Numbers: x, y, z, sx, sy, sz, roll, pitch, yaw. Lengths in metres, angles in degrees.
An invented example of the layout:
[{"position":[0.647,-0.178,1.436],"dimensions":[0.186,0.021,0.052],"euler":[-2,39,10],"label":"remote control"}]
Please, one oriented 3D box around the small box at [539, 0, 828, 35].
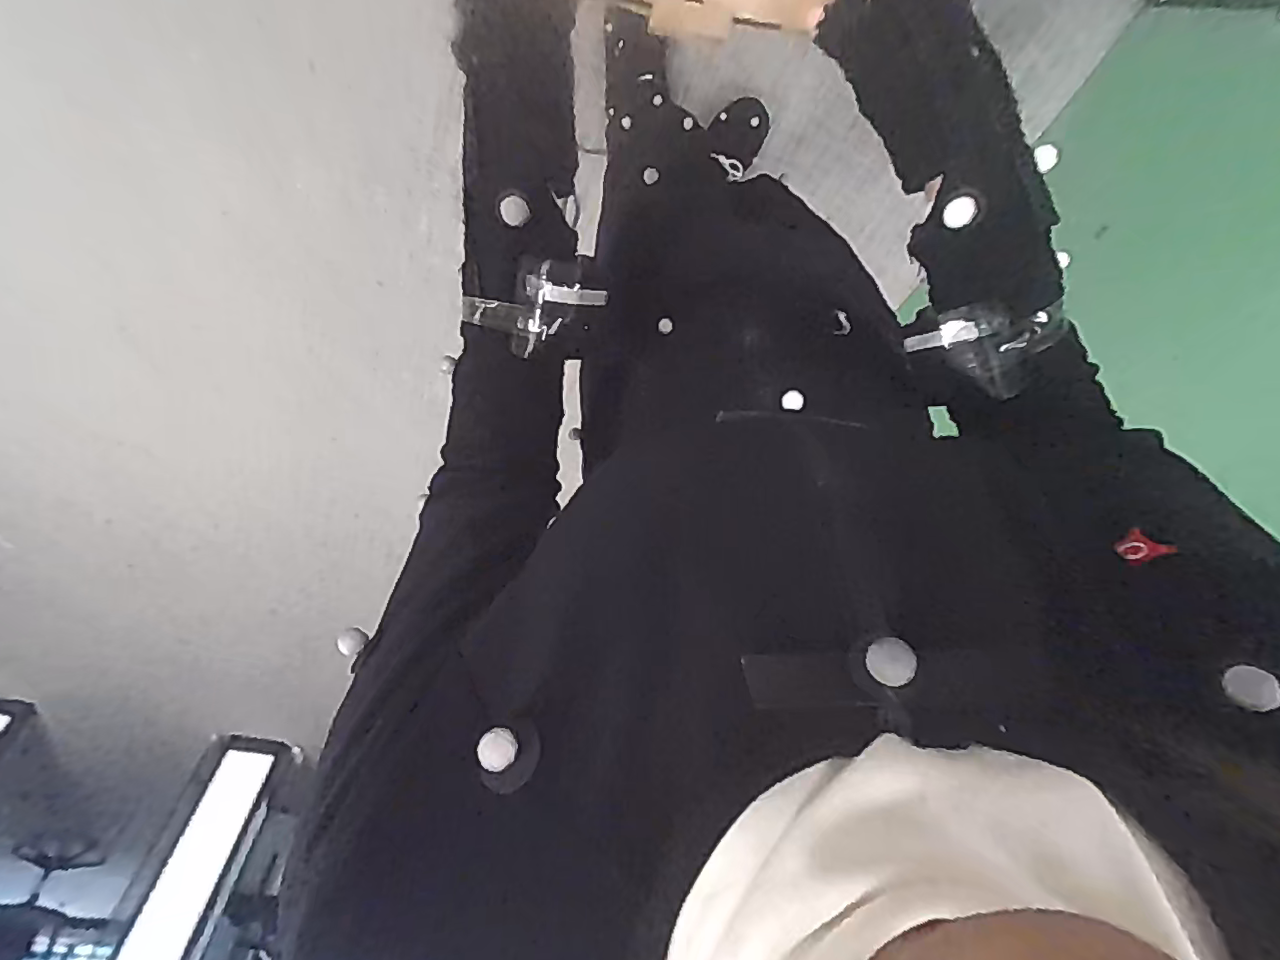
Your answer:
[{"position":[0.025,-0.373,0.294],"dimensions":[0.168,0.176,0.179],"euler":[0,135,-7],"label":"small box"}]
